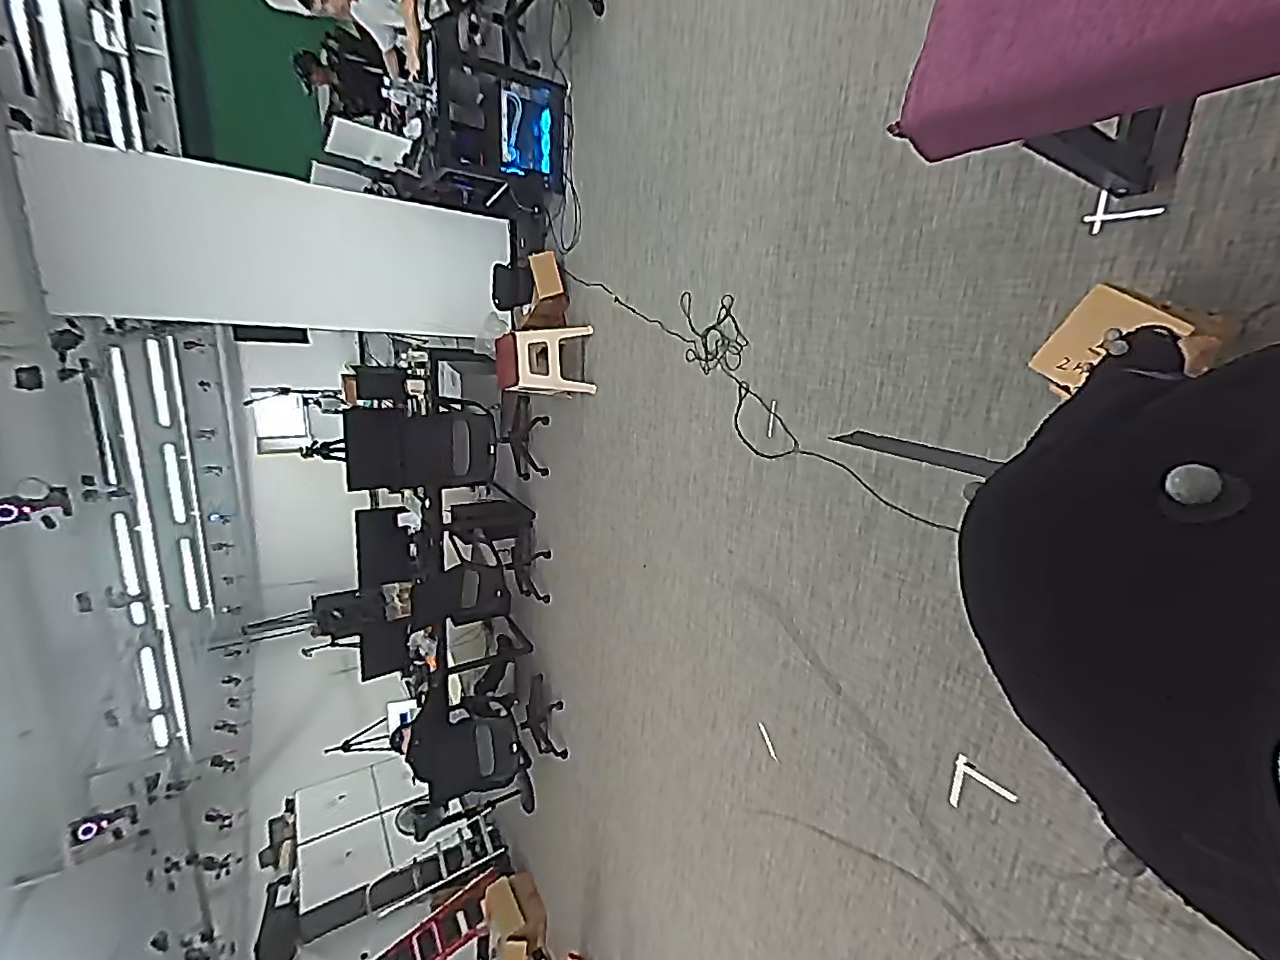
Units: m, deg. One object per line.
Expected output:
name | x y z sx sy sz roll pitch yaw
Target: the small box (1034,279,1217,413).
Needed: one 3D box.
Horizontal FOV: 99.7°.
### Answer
small box | 0.887 -0.243 0.988 0.168 0.176 0.179 56 139 36
